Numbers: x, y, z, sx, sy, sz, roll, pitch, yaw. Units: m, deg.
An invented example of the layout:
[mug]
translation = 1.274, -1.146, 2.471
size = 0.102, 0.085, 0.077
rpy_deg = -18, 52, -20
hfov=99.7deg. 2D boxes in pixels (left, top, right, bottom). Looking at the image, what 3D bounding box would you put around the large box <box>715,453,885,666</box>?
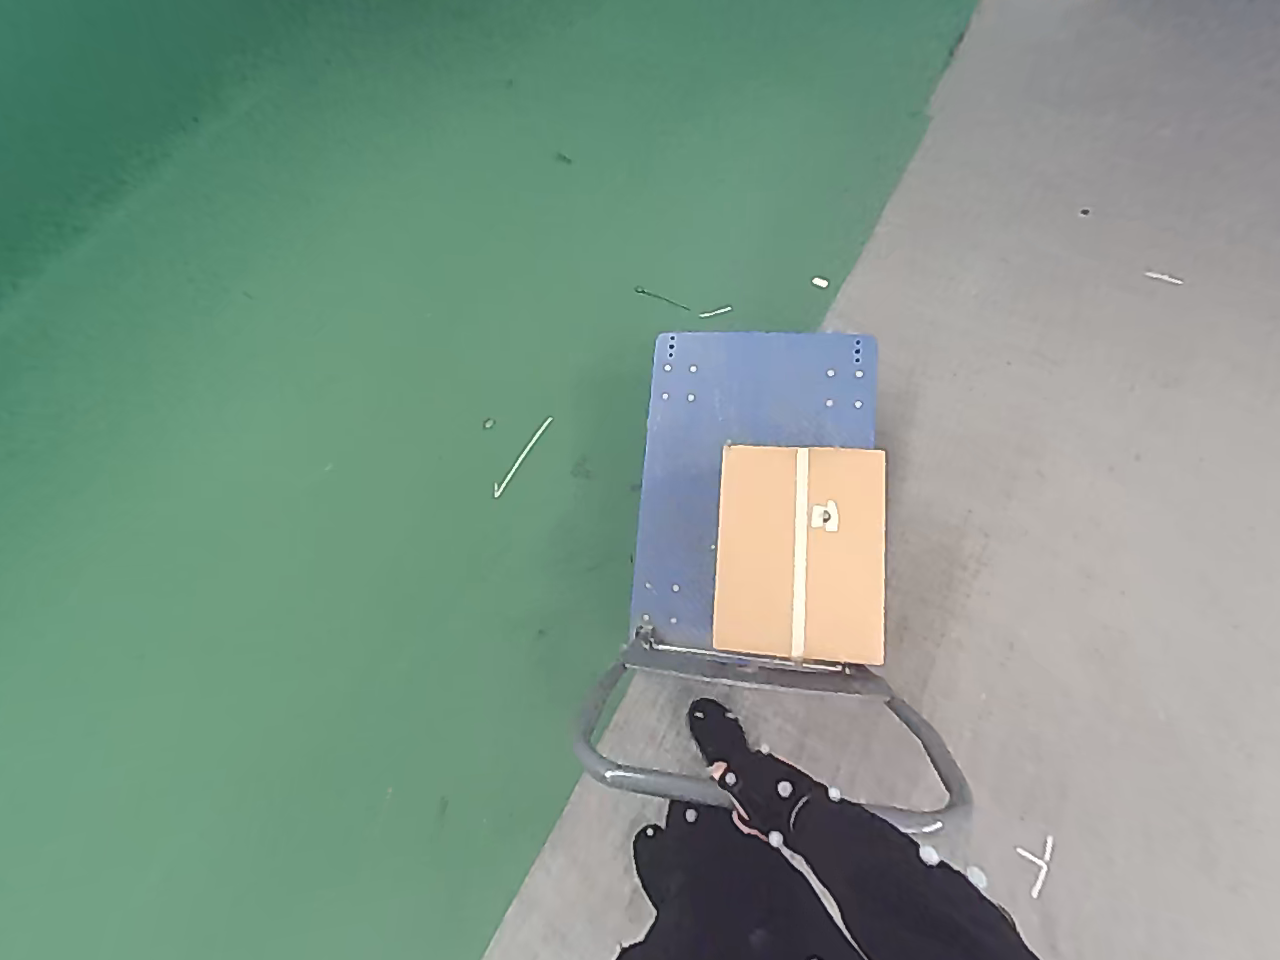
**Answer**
[large box]
translation = 0.332, 0.173, 1.194
size = 0.320, 0.320, 0.408
rpy_deg = 2, 80, 9
